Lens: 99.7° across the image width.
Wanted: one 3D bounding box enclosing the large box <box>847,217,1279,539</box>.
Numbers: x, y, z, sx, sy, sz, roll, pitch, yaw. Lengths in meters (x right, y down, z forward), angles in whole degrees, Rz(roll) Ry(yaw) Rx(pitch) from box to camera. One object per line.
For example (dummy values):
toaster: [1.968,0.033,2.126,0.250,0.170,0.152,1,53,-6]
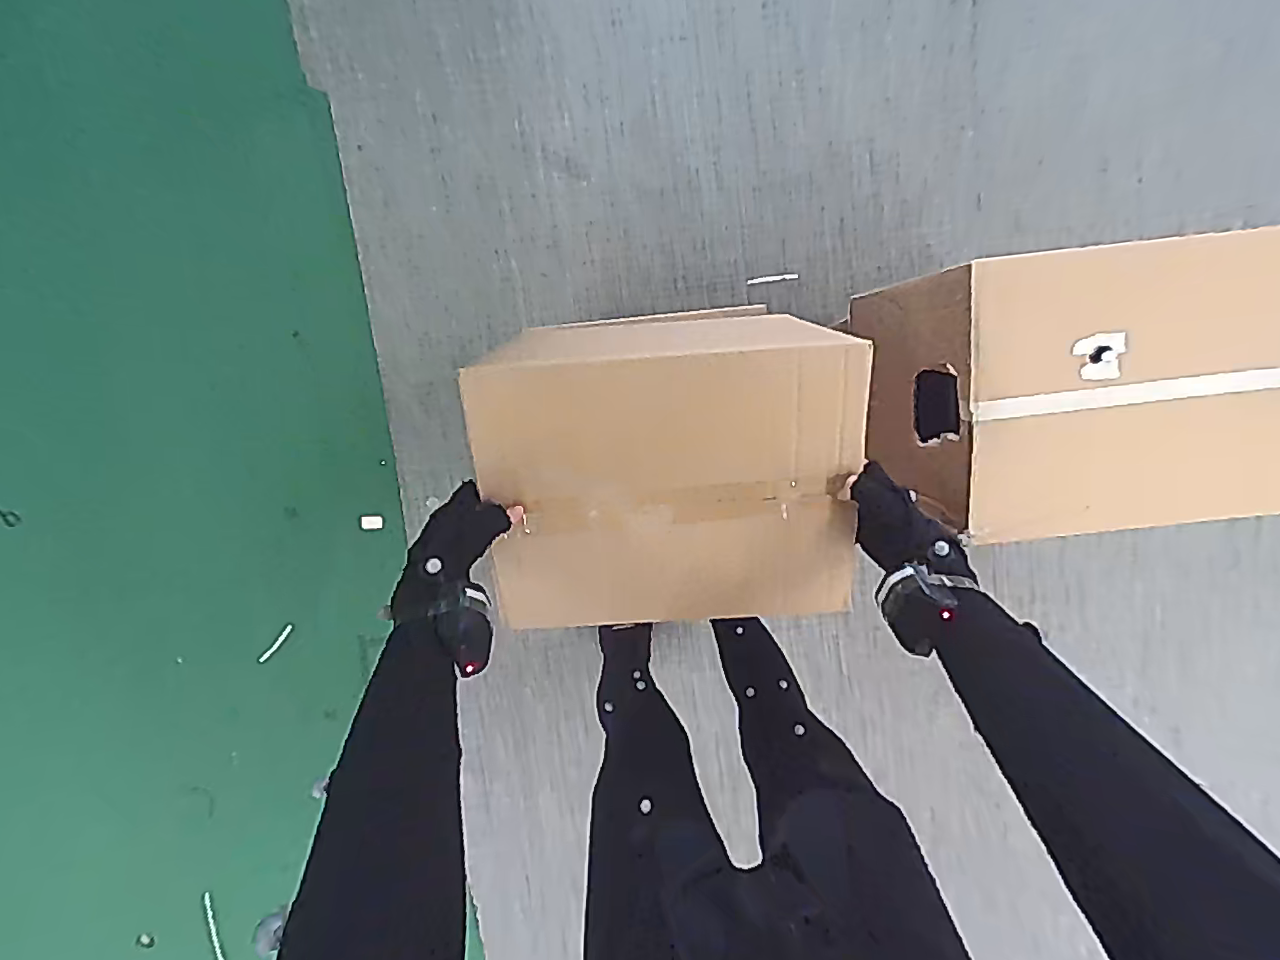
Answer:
large box: [0.539,-0.135,0.735,0.408,0.320,0.320,-6,102,2]
